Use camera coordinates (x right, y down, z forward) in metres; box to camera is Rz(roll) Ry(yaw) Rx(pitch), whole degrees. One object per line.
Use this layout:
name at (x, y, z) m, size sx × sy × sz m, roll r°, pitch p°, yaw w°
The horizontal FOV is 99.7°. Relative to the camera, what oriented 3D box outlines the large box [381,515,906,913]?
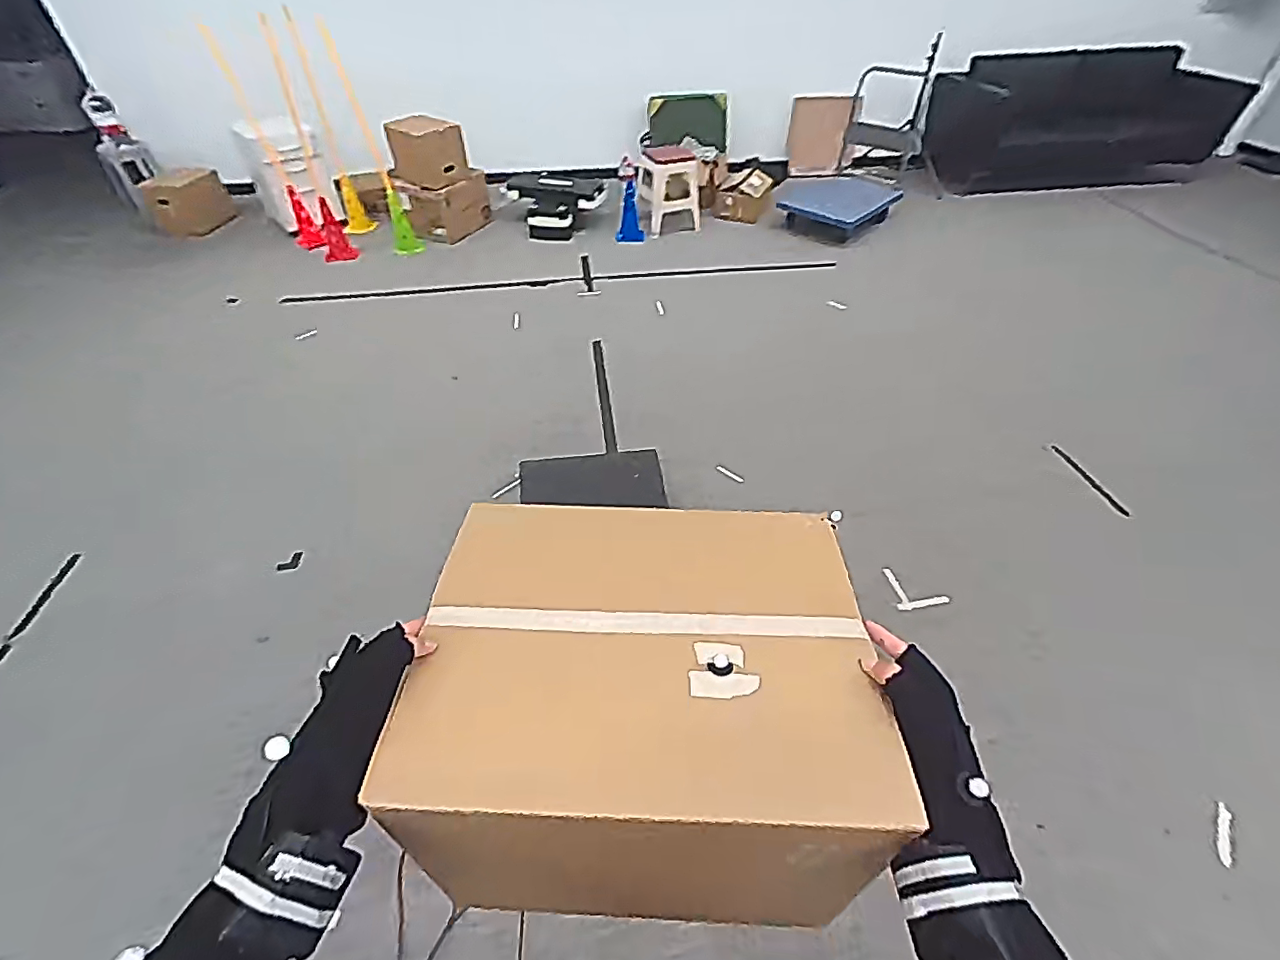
large box at (0.002, 0.256, 0.609) m, size 0.408 × 0.320 × 0.320 m, roll 2°, pitch 41°, yaw 1°
